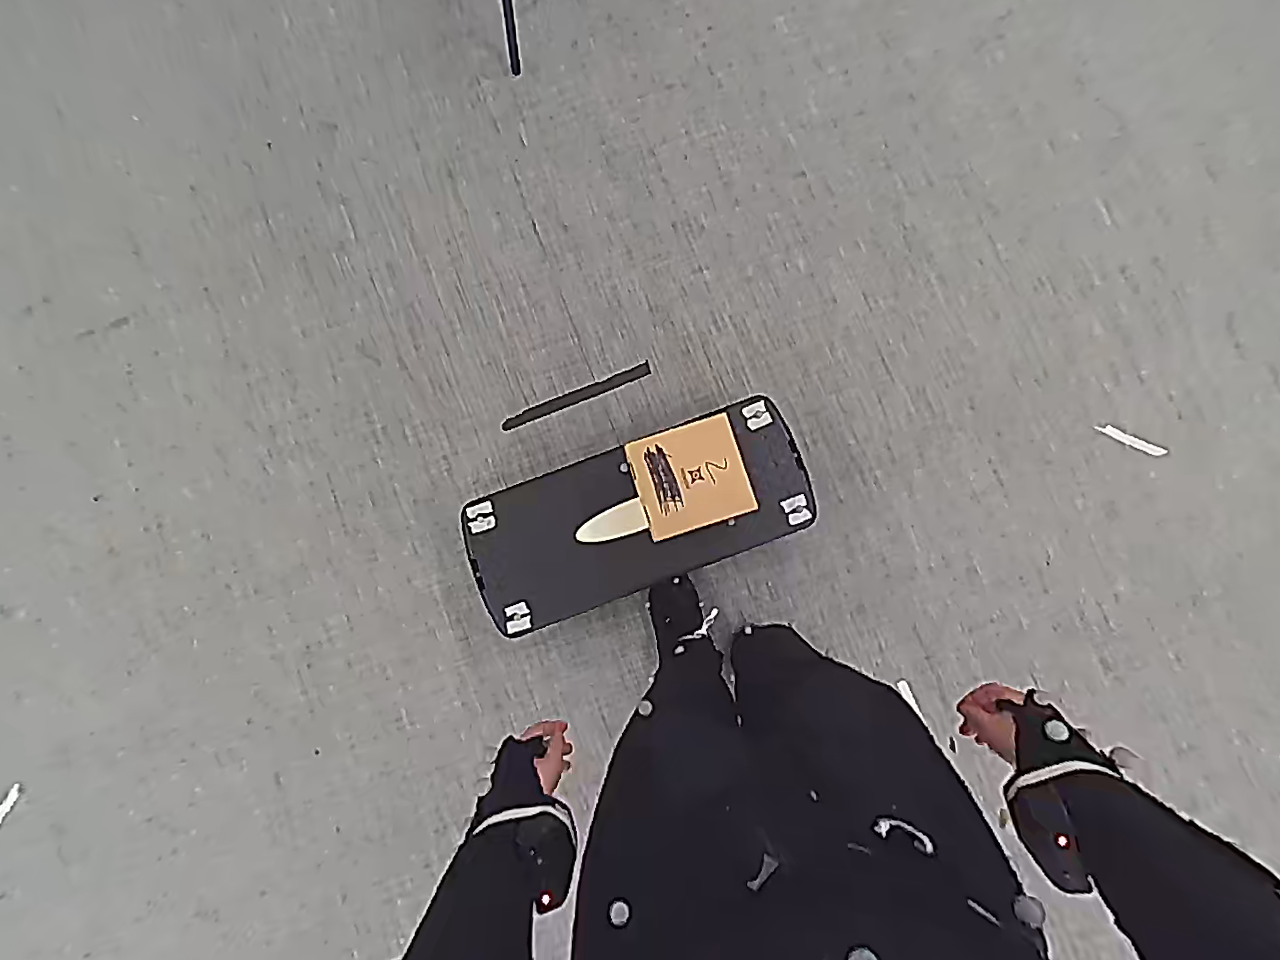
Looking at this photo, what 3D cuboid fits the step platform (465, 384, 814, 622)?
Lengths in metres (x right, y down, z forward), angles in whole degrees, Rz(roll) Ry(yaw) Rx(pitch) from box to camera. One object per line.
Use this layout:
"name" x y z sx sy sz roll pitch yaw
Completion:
"step platform" -0.001 0.048 1.119 0.684 0.204 0.286 -21 84 -1
